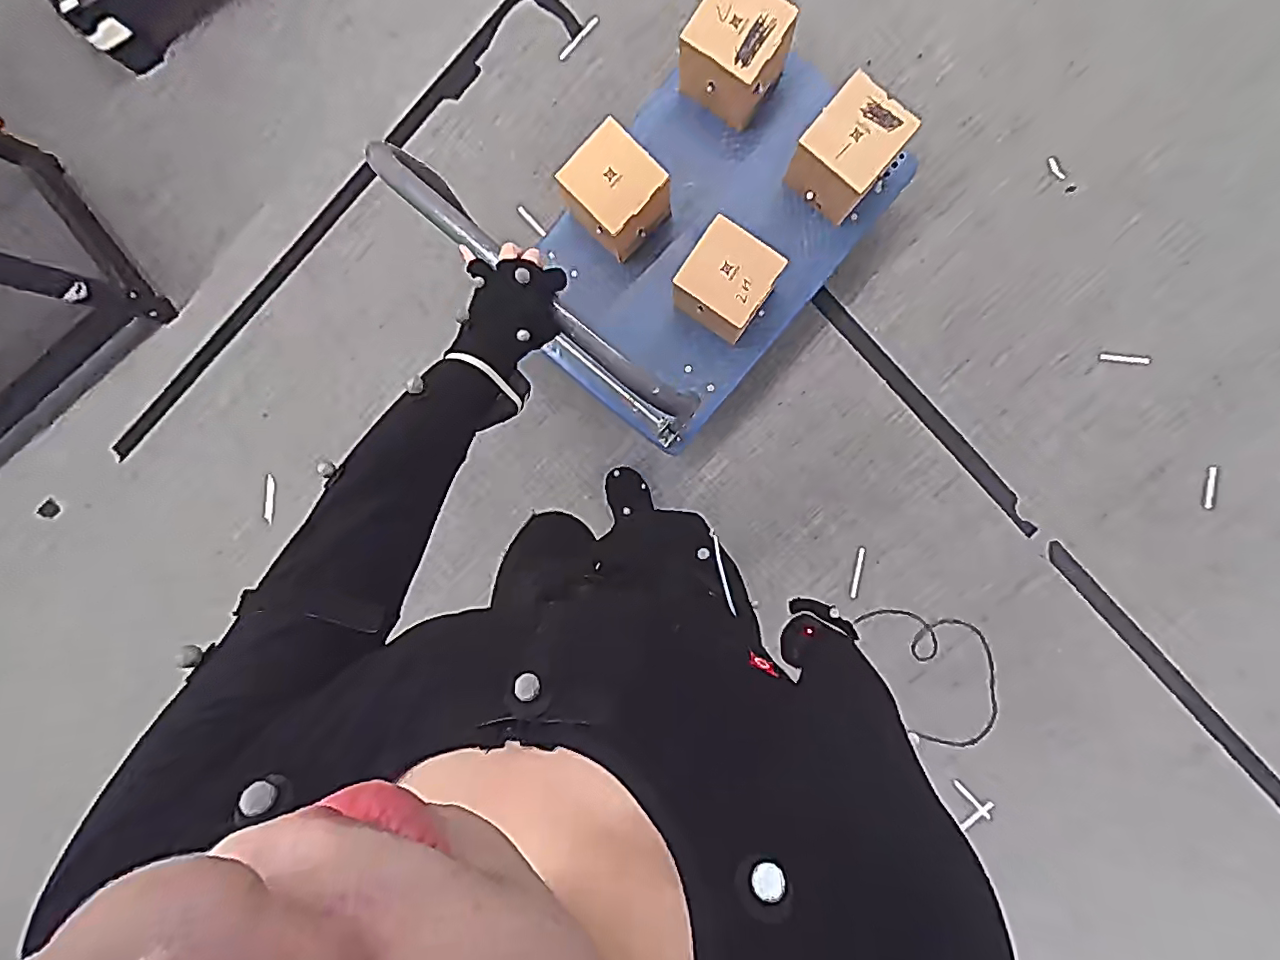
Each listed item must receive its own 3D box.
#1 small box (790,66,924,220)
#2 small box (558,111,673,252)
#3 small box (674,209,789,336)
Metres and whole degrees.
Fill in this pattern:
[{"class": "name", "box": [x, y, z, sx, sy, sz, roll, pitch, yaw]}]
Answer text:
[{"class": "small box", "box": [0.440, -0.691, 1.131, 0.168, 0.176, 0.179, 42, 97, 0]}, {"class": "small box", "box": [-0.048, -0.630, 1.170, 0.168, 0.176, 0.179, -45, 92, 5]}, {"class": "small box", "box": [0.189, -0.434, 1.167, 0.179, 0.176, 0.168, 36, 96, 1]}]
